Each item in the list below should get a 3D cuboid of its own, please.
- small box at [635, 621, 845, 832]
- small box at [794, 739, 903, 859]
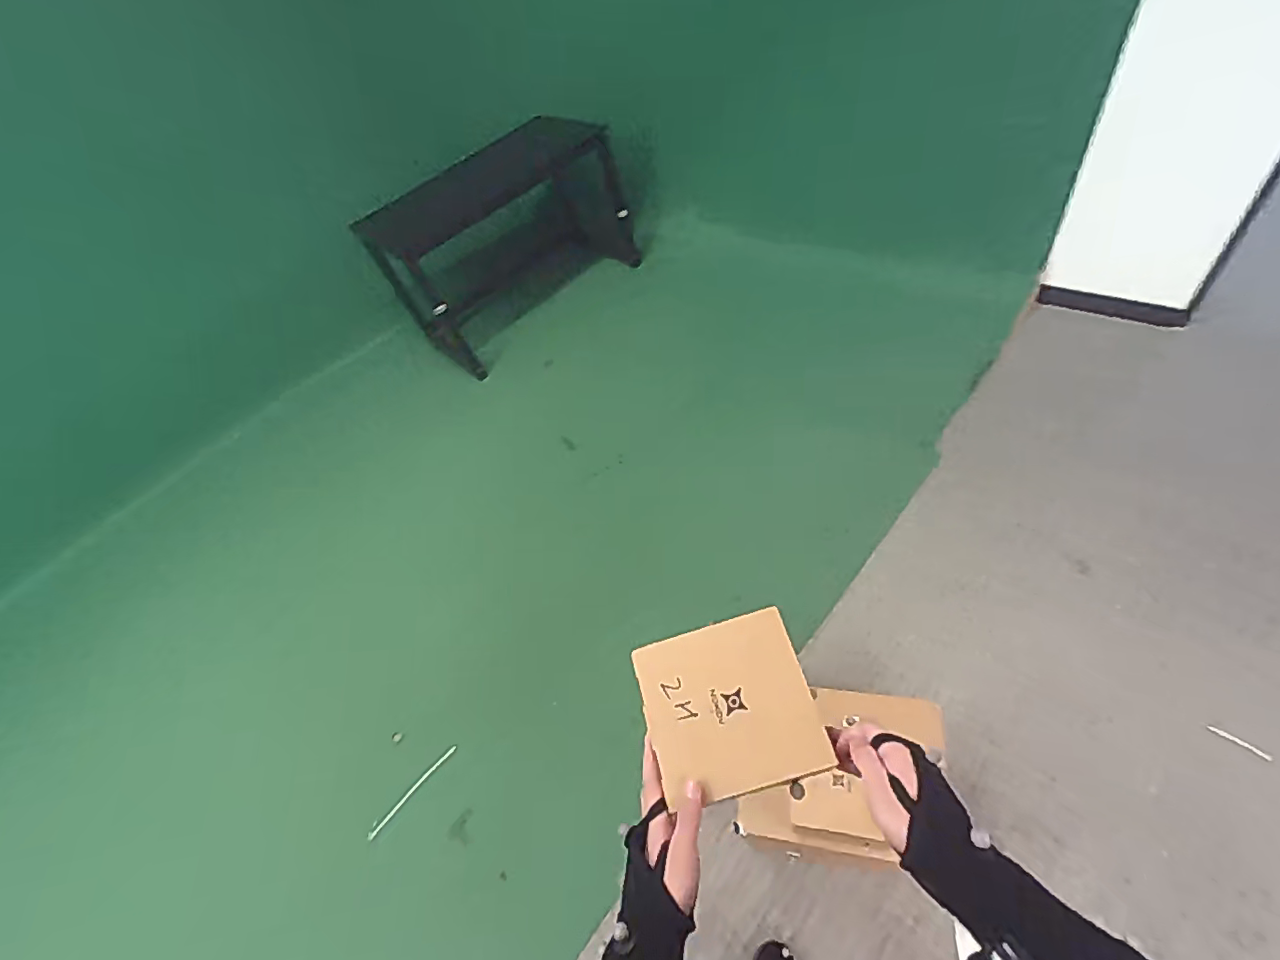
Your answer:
[{"bbox_3d":[0.108,0.283,0.621,0.179,0.176,0.168,-18,58,2],"label":"small box"},{"bbox_3d":[0.384,0.599,1.020,0.179,0.176,0.168,0,52,18],"label":"small box"}]
